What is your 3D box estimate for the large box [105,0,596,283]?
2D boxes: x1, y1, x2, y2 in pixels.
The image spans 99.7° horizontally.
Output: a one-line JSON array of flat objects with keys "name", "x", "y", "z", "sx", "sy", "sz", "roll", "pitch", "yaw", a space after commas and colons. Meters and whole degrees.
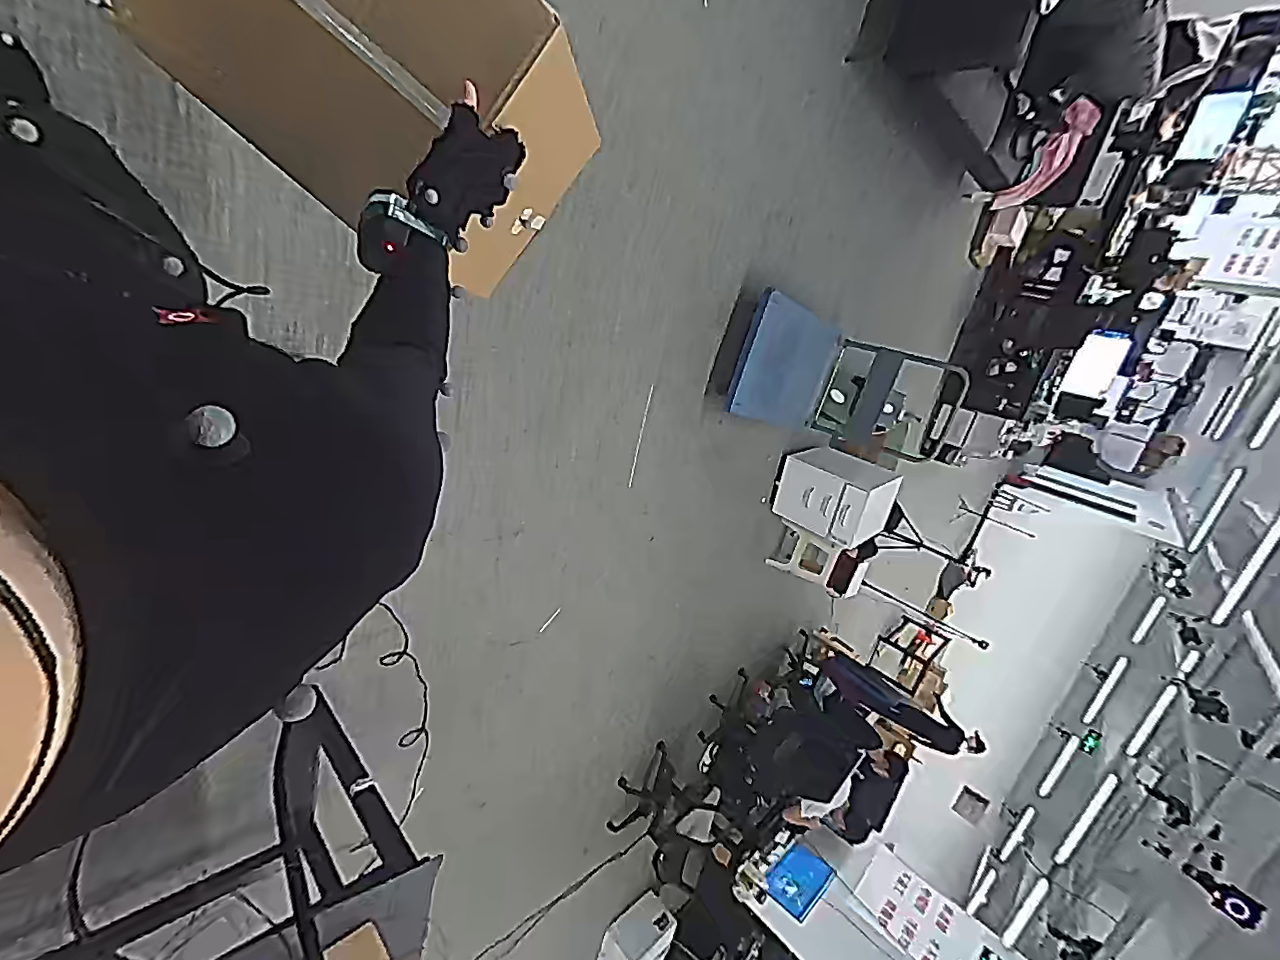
[{"name": "large box", "x": -0.321, "y": -0.527, "z": 0.714, "sx": 0.320, "sy": 0.408, "sz": 0.320, "roll": -50, "pitch": -176, "yaw": 11}]
